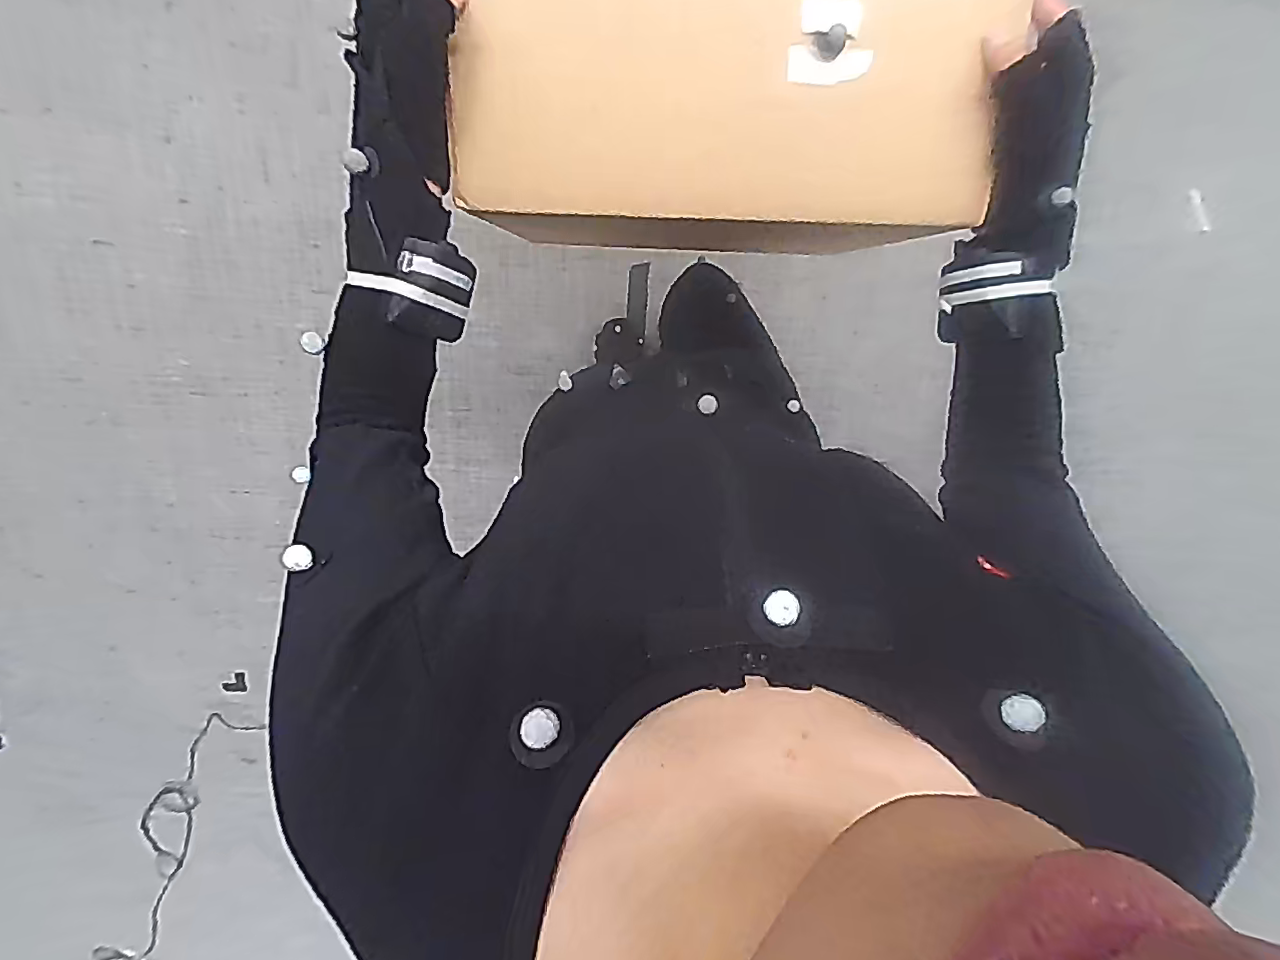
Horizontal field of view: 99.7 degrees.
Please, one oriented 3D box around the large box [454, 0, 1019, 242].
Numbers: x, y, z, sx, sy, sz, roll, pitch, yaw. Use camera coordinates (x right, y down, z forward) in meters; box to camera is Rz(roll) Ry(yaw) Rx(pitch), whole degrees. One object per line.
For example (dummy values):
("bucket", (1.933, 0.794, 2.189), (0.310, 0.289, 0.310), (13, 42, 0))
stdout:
("large box", (0.063, -0.407, 0.509), (0.408, 0.320, 0.320), (0, 110, -2))
